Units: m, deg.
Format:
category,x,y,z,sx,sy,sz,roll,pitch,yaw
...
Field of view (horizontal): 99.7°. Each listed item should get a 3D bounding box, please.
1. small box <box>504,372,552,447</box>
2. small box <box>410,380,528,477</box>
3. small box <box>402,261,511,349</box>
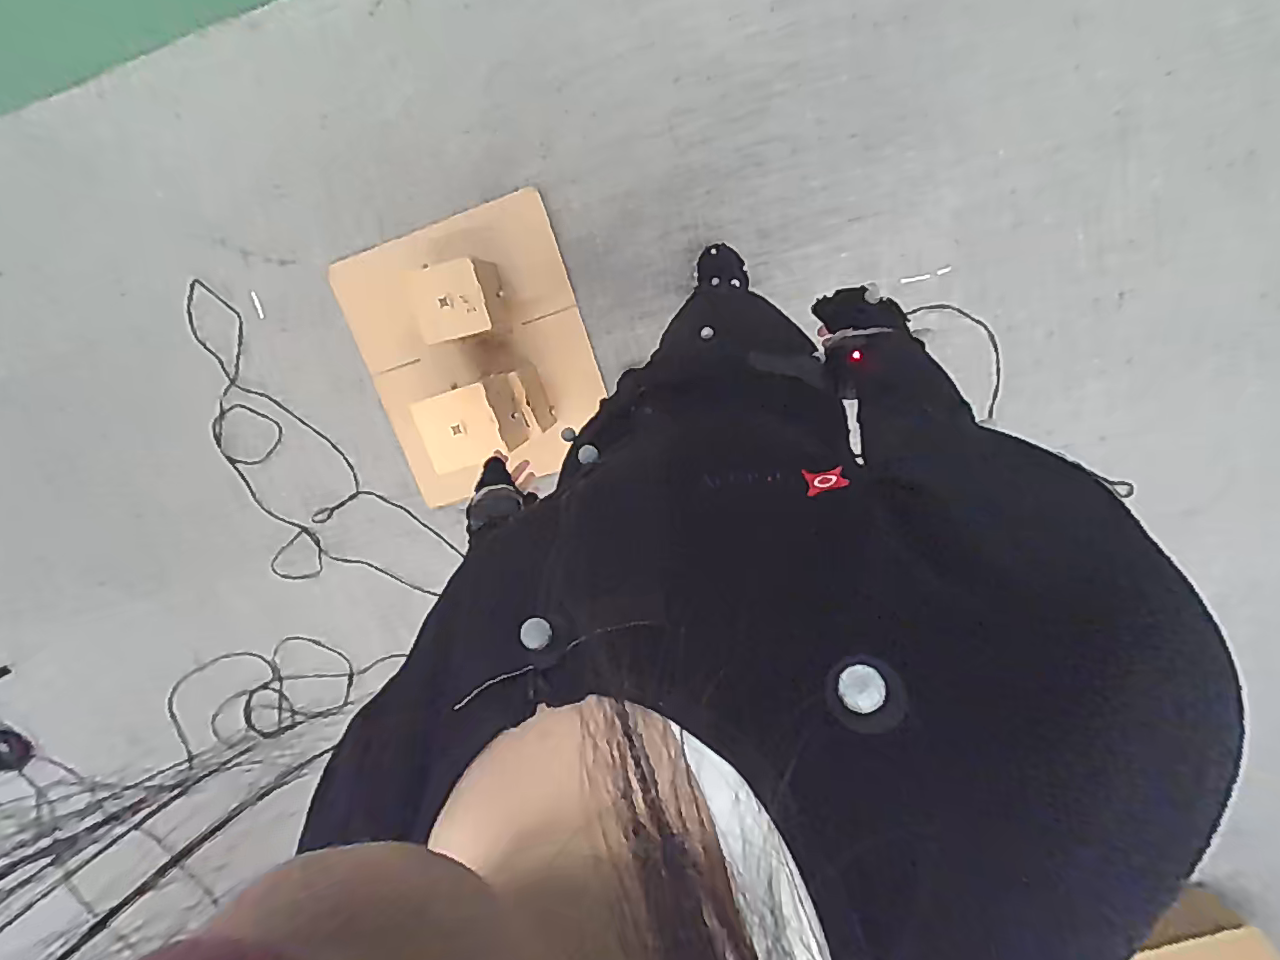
category,x,y,z,sx,sy,sz,roll,pitch,yaw
small box,-0.340,-0.171,1.388,0.179,0.176,0.168,-18,104,10
small box,-0.381,-0.122,1.236,0.179,0.176,0.168,-16,104,9
small box,-0.440,-0.424,1.327,0.179,0.176,0.168,-12,106,7
